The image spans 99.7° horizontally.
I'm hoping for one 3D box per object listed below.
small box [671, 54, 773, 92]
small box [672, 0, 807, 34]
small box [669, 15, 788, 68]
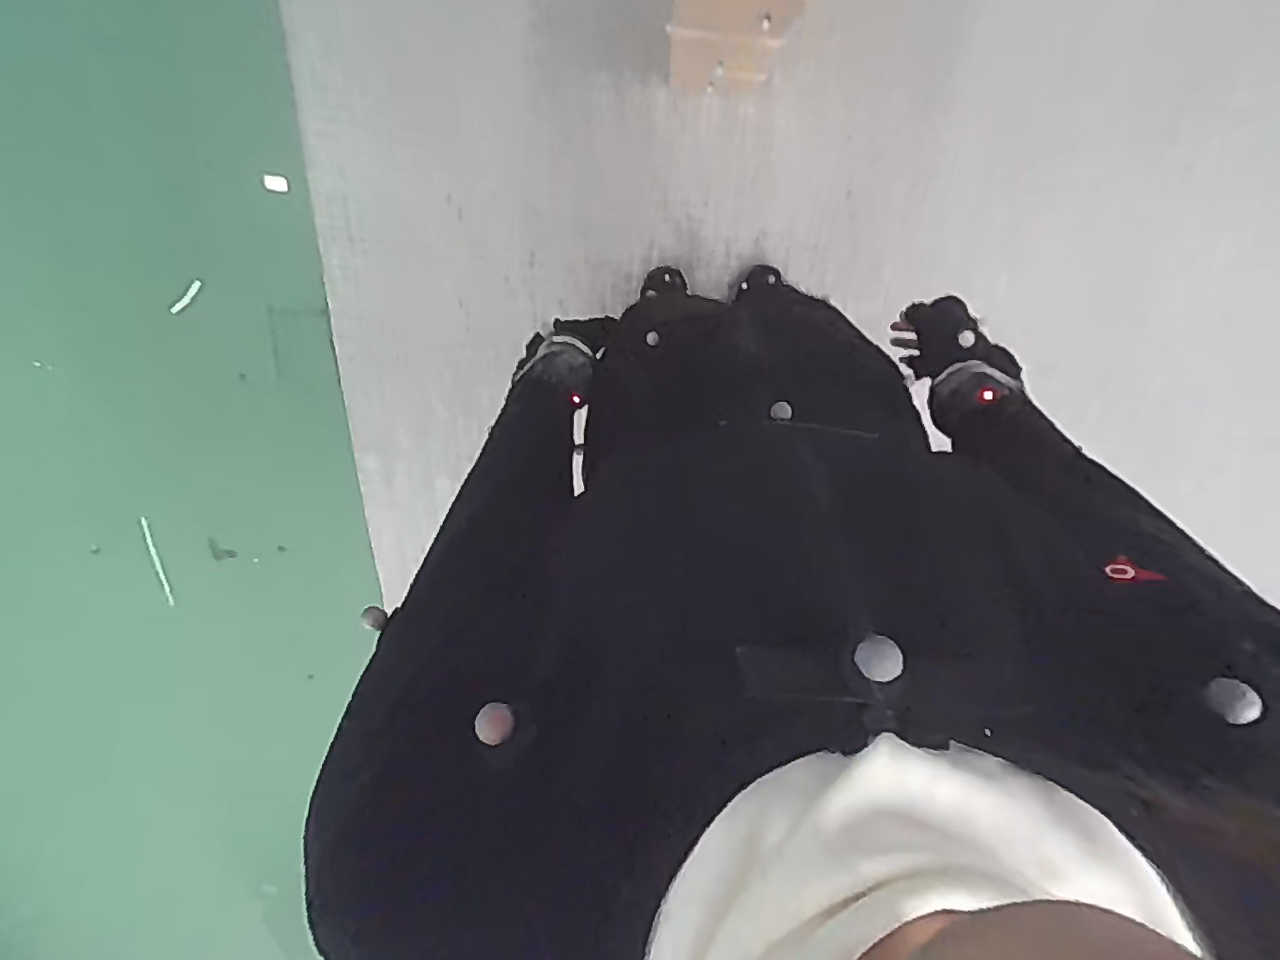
[{"bbox_3d":[0.155,-0.849,1.016,0.179,0.176,0.168,3,115,-1],"label":"small box"},{"bbox_3d":[0.138,-0.722,0.716,0.179,0.176,0.168,5,114,1],"label":"small box"},{"bbox_3d":[0.145,-0.787,0.866,0.179,0.176,0.168,6,115,-1],"label":"small box"}]
